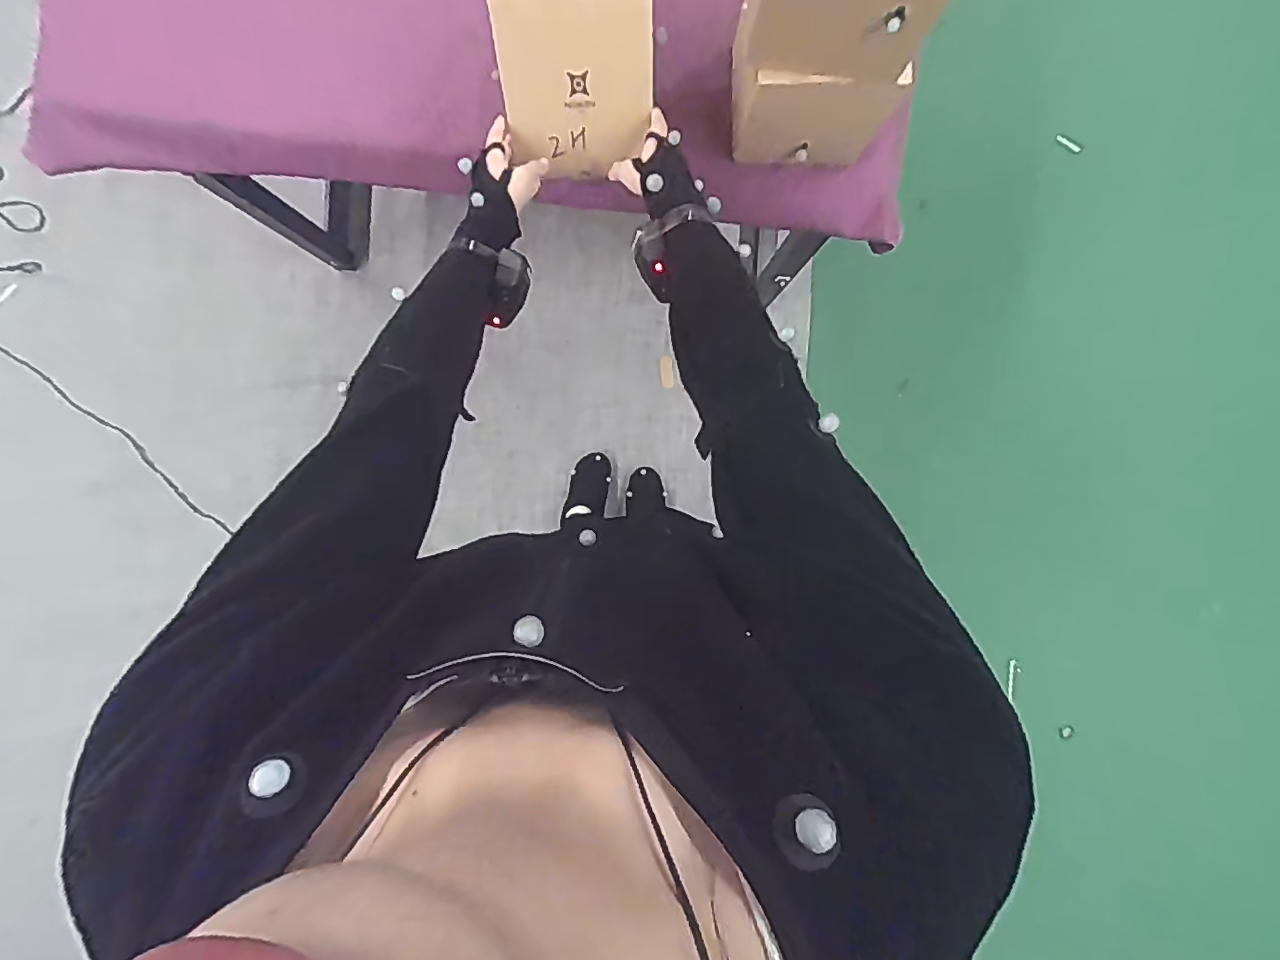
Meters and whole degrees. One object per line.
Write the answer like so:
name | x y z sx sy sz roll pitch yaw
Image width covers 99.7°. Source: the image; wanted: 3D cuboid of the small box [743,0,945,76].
small box | 0.207 -0.528 0.514 0.179 0.176 0.168 6 93 0

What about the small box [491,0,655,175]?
small box | -0.070 -0.486 0.640 0.168 0.176 0.179 -2 138 -1

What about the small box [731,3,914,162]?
small box | 0.218 -0.526 0.678 0.179 0.176 0.168 0 92 0
